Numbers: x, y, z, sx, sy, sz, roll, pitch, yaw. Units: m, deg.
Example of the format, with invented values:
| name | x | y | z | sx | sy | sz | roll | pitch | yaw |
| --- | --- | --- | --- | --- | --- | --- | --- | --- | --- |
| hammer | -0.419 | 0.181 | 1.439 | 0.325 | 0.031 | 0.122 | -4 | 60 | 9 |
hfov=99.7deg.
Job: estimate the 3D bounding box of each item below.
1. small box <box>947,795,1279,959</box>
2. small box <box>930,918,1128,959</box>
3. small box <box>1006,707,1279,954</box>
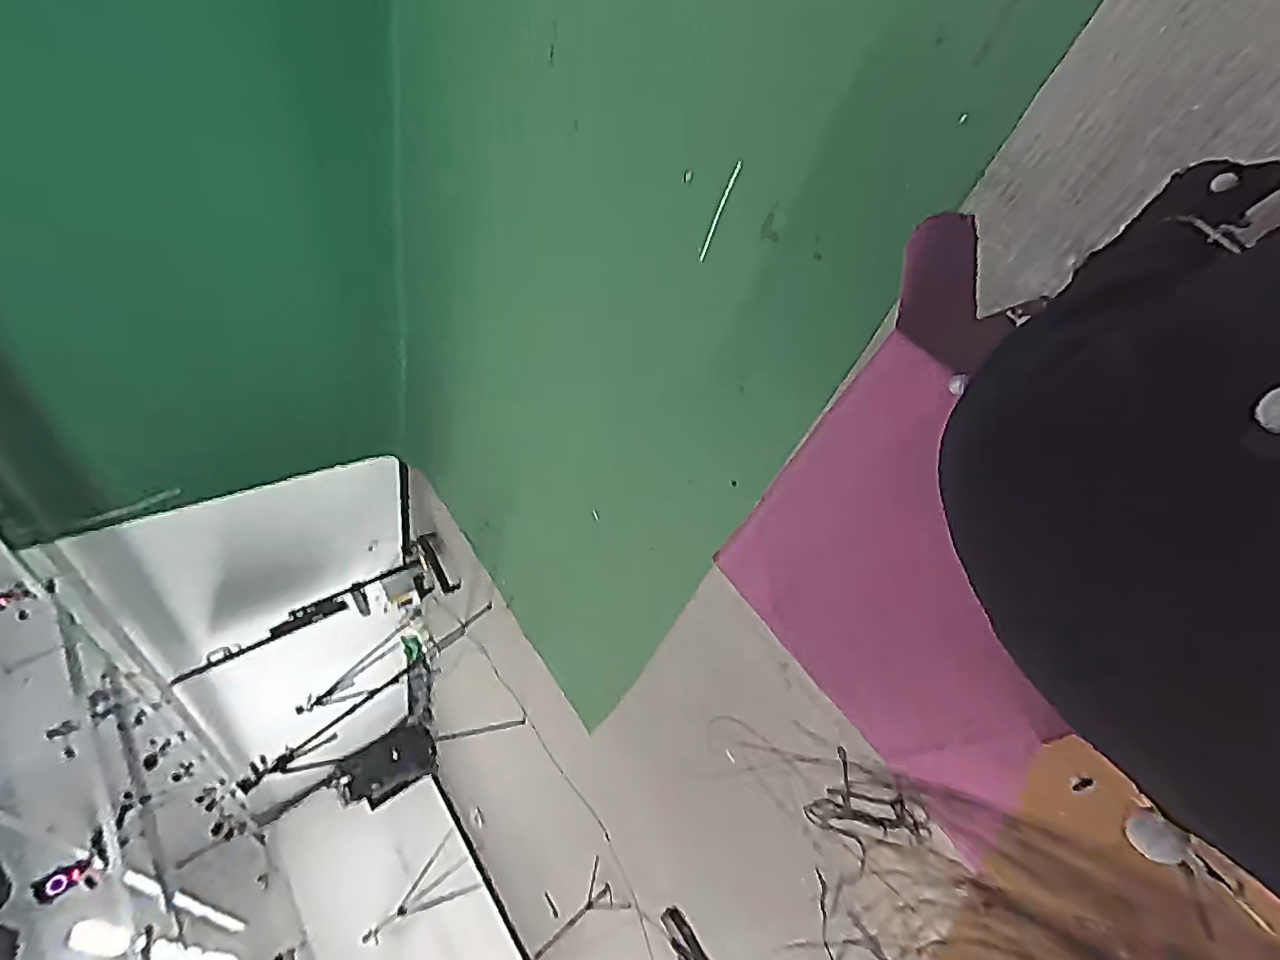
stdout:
| name | x | y | z | sx | sy | sz | roll | pitch | yaw |
| --- | --- | --- | --- | --- | --- | --- | --- | --- | --- |
| small box | 0.457 | 0.450 | 0.530 | 0.168 | 0.176 | 0.179 | 50 | 139 | 22 |
| small box | 0.334 | 0.500 | 0.435 | 0.168 | 0.176 | 0.179 | 50 | 139 | 22 |
| small box | 0.581 | 0.395 | 0.623 | 0.168 | 0.176 | 0.179 | 51 | 140 | 22 |
